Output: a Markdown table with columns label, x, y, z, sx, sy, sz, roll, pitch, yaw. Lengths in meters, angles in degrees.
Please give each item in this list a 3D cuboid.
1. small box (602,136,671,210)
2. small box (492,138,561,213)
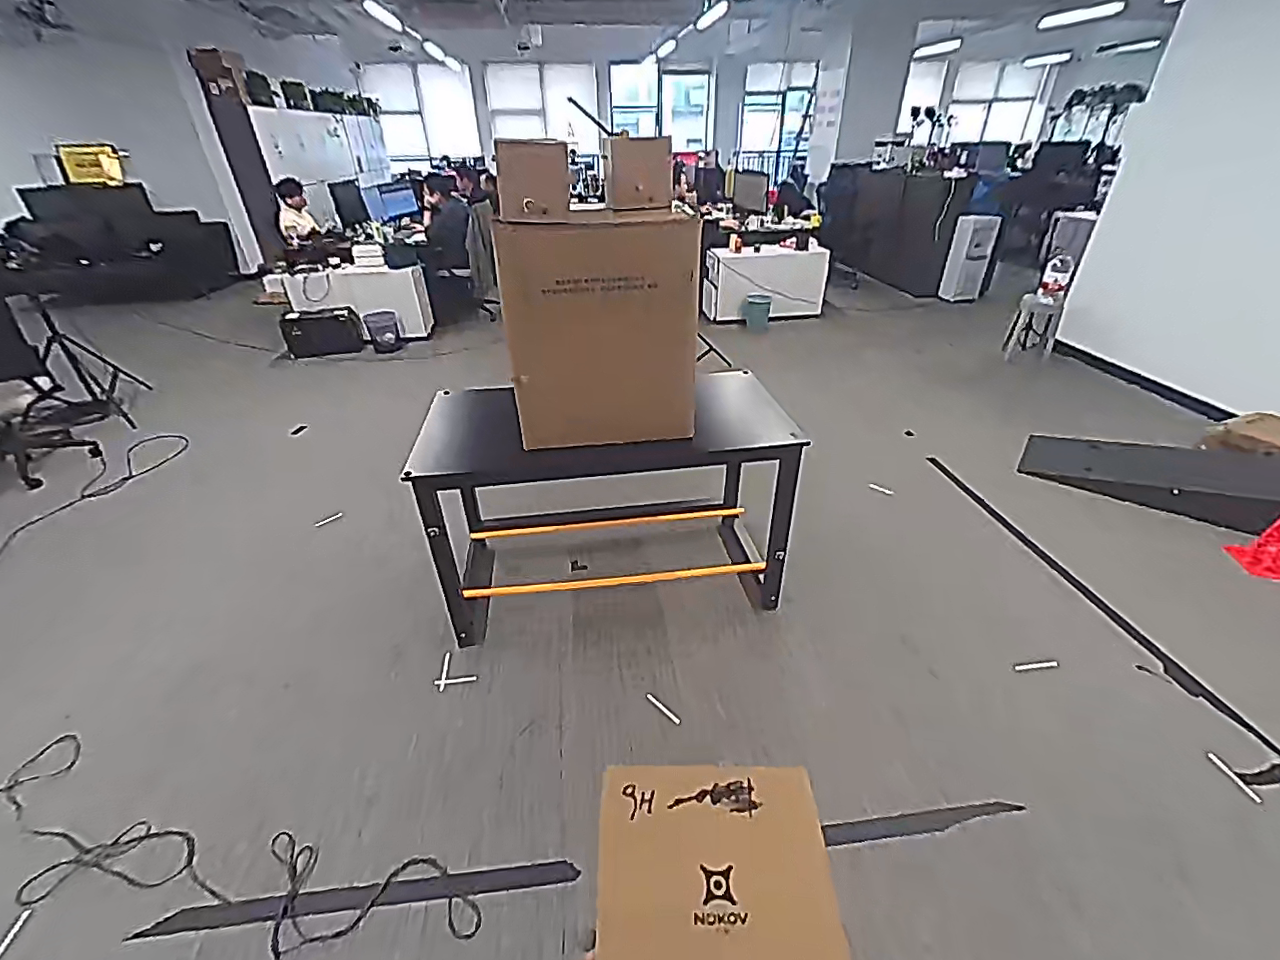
| label | x | y | z | sx | sy | sz | roll | pitch | yaw |
| --- | --- | --- | --- | --- | --- | --- | --- | --- | --- |
| small box | -0.013 | -0.846 | 1.492 | 0.168 | 0.176 | 0.179 | -8 | 32 | -7 |
| small box | -0.308 | -0.837 | 1.488 | 0.168 | 0.176 | 0.179 | -6 | 31 | -8 |
